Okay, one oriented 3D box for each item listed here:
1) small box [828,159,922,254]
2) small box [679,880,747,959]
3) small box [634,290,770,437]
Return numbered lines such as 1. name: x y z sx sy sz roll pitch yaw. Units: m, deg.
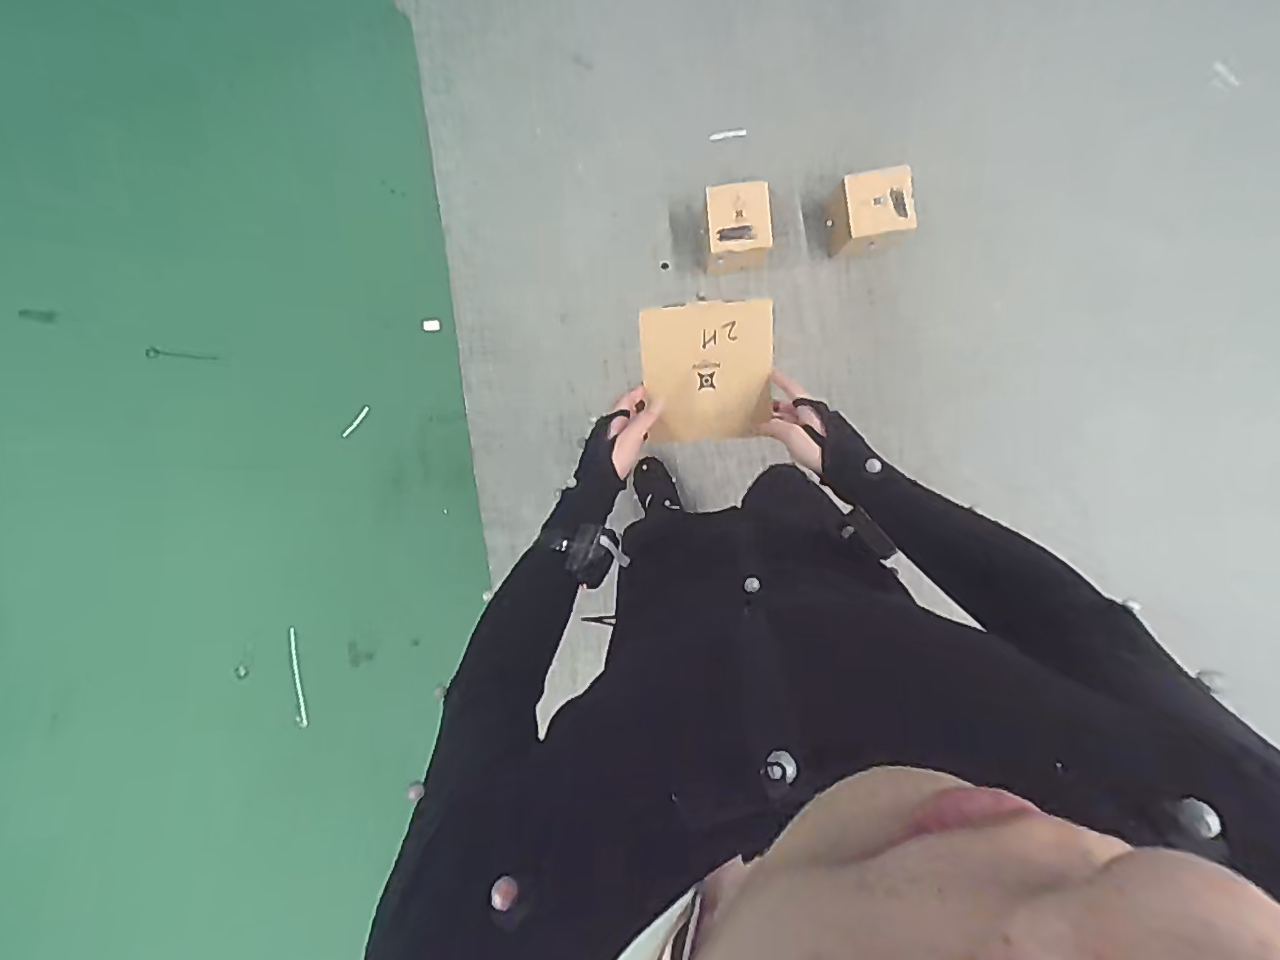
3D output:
1. small box: 0.634 -0.737 1.473 0.179 0.176 0.168 -8 92 2
2. small box: 0.211 1.319 1.589 0.179 0.176 0.168 -6 92 2
3. small box: 0.085 -0.167 0.748 0.168 0.176 0.179 -2 108 6
